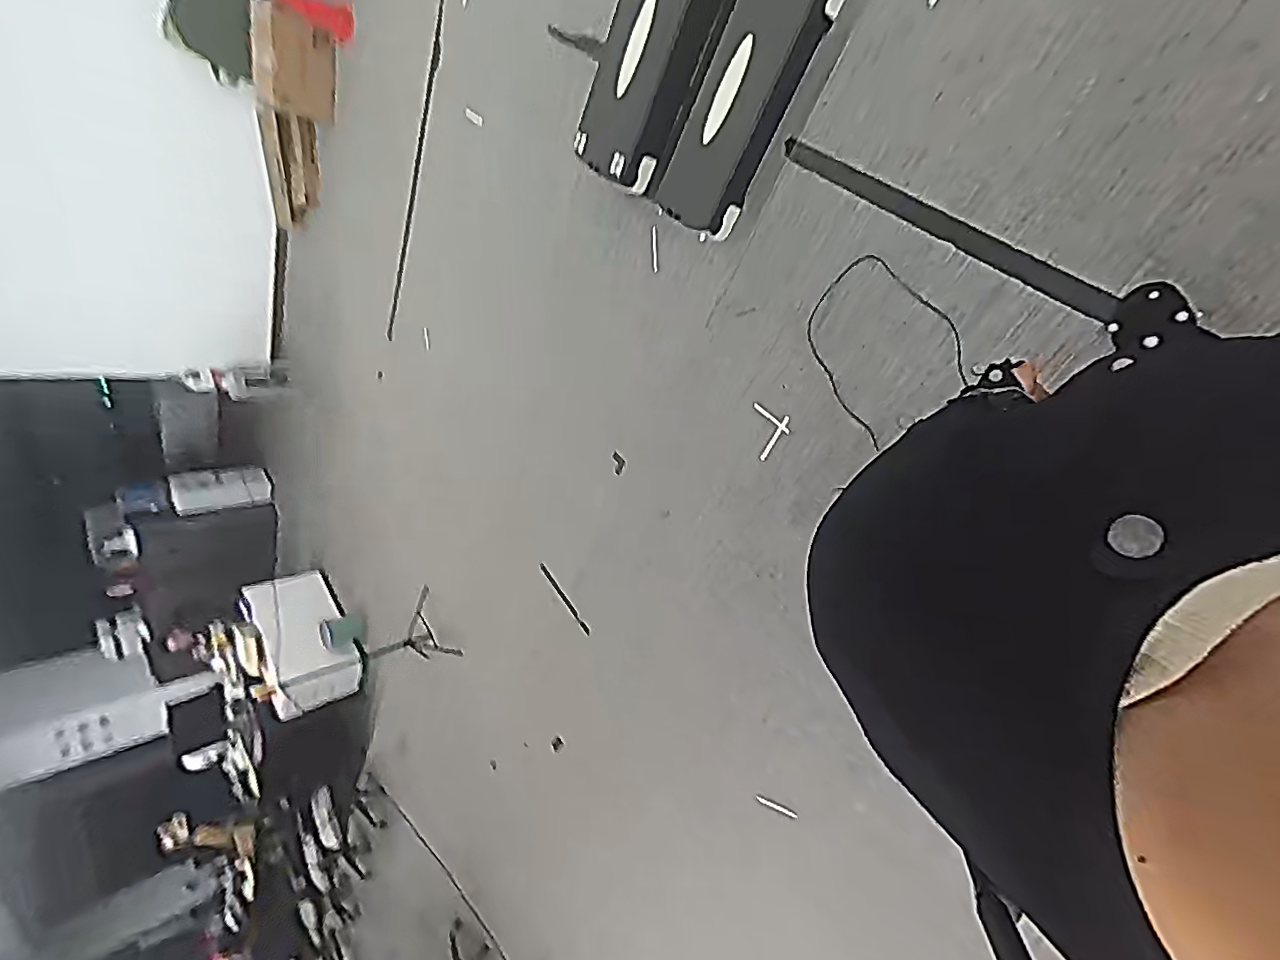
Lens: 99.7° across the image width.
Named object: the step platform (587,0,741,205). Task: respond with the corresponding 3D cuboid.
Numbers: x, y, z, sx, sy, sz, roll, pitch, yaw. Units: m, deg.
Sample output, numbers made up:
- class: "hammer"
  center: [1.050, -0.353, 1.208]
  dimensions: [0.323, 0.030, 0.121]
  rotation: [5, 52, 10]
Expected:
- class: "step platform"
  center: [0.104, -1.188, 1.558]
  dimensions: [0.286, 0.204, 0.684]
  rotation: [52, 127, 26]
